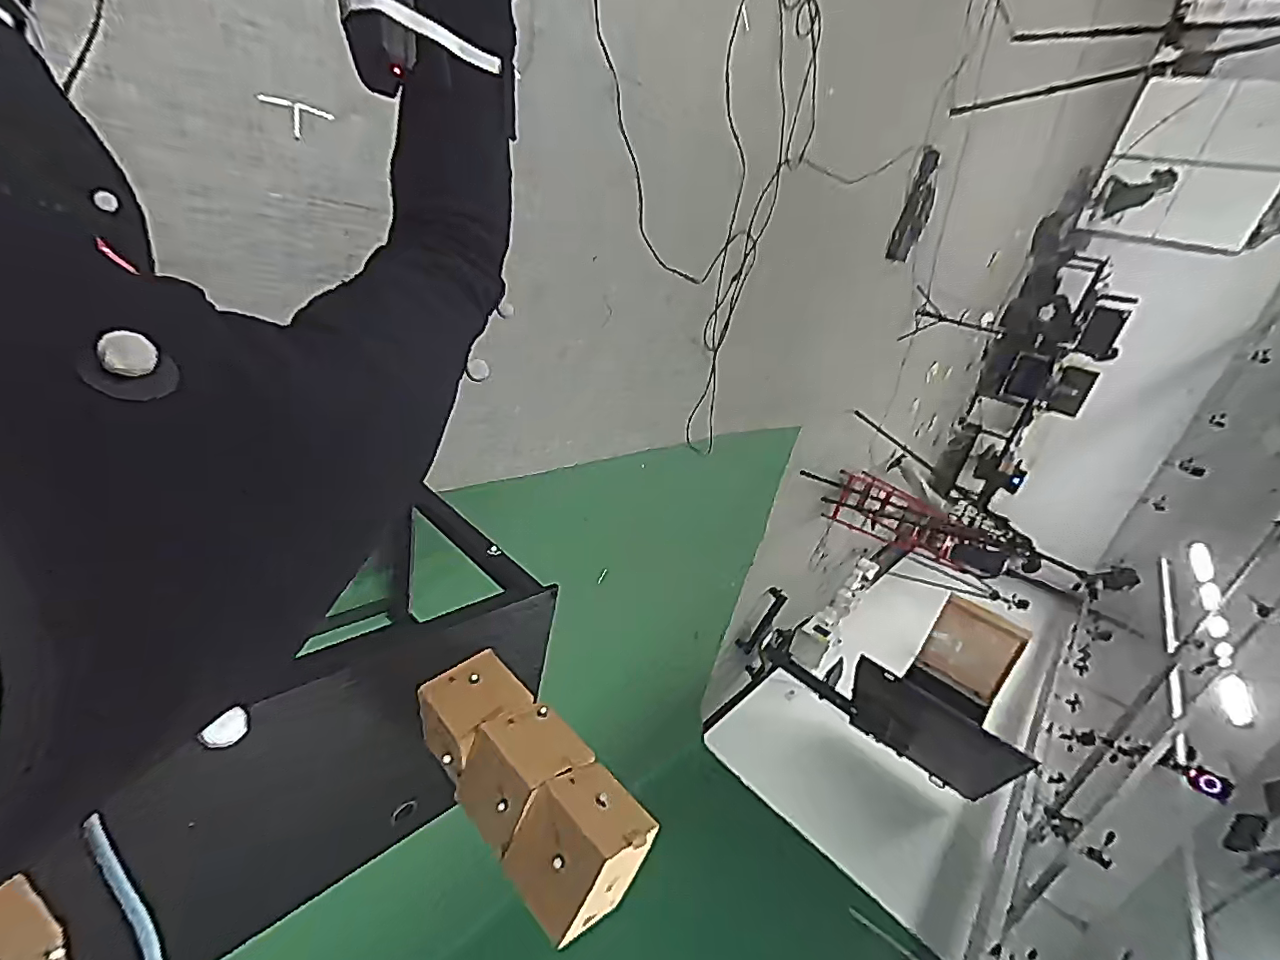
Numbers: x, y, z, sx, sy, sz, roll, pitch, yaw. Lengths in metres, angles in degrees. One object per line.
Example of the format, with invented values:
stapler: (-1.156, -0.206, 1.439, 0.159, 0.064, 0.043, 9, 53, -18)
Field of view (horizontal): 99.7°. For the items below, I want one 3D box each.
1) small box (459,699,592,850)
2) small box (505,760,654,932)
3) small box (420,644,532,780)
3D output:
small box: (-0.229, 0.559, 1.060, 0.168, 0.176, 0.179, 3, 113, -52)
small box: (-0.112, 0.635, 0.974, 0.168, 0.176, 0.179, 21, 97, -55)
small box: (-0.348, 0.488, 1.149, 0.168, 0.176, 0.179, -23, 132, -41)
